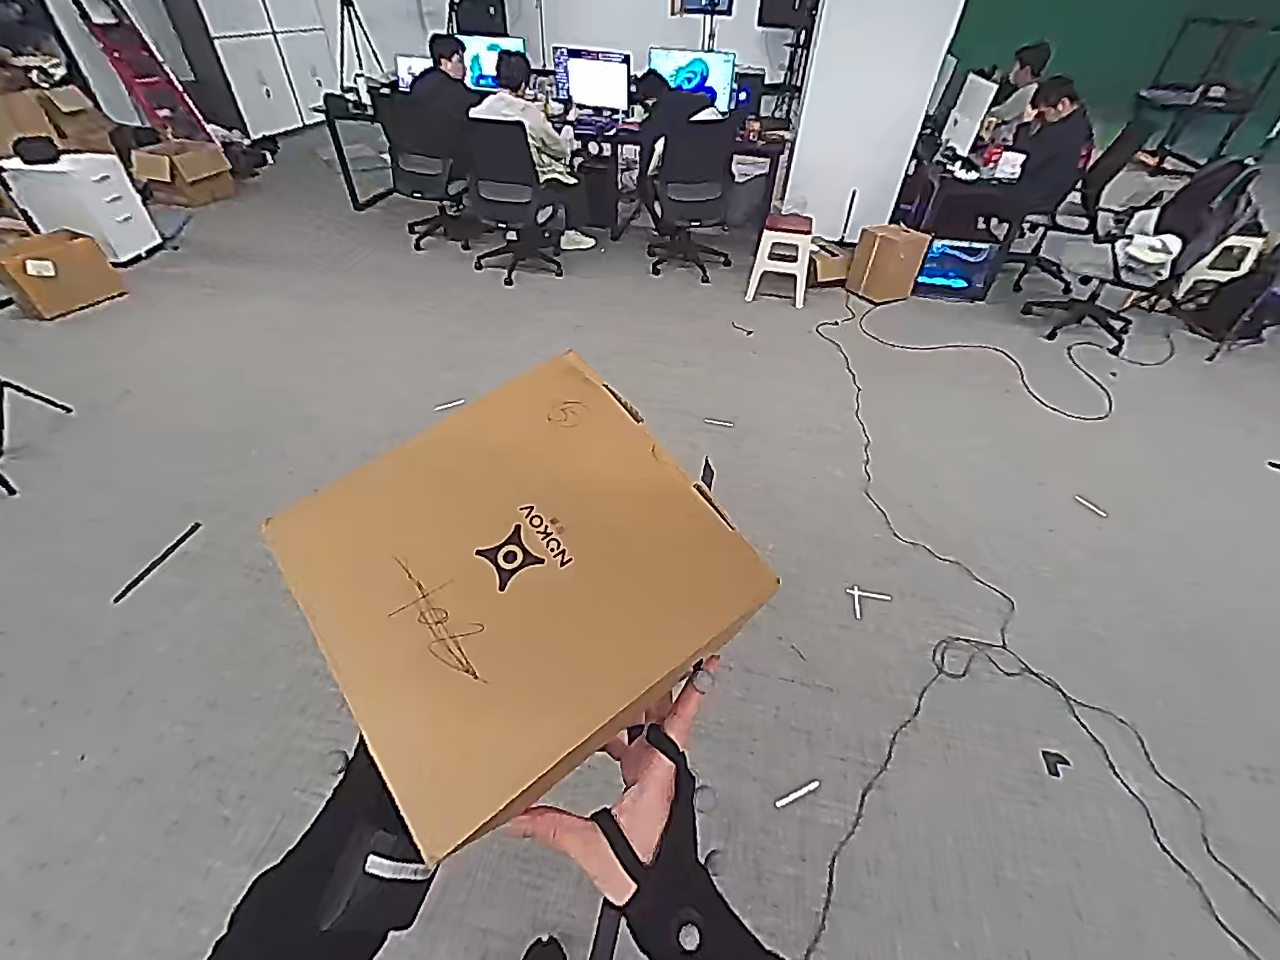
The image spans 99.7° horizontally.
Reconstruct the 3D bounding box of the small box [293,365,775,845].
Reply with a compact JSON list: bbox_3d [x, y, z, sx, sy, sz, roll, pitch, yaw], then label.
[{"bbox_3d":[-0.053,0.072,0.328,0.179,0.176,0.168,-34,68,-16],"label":"small box"}]
